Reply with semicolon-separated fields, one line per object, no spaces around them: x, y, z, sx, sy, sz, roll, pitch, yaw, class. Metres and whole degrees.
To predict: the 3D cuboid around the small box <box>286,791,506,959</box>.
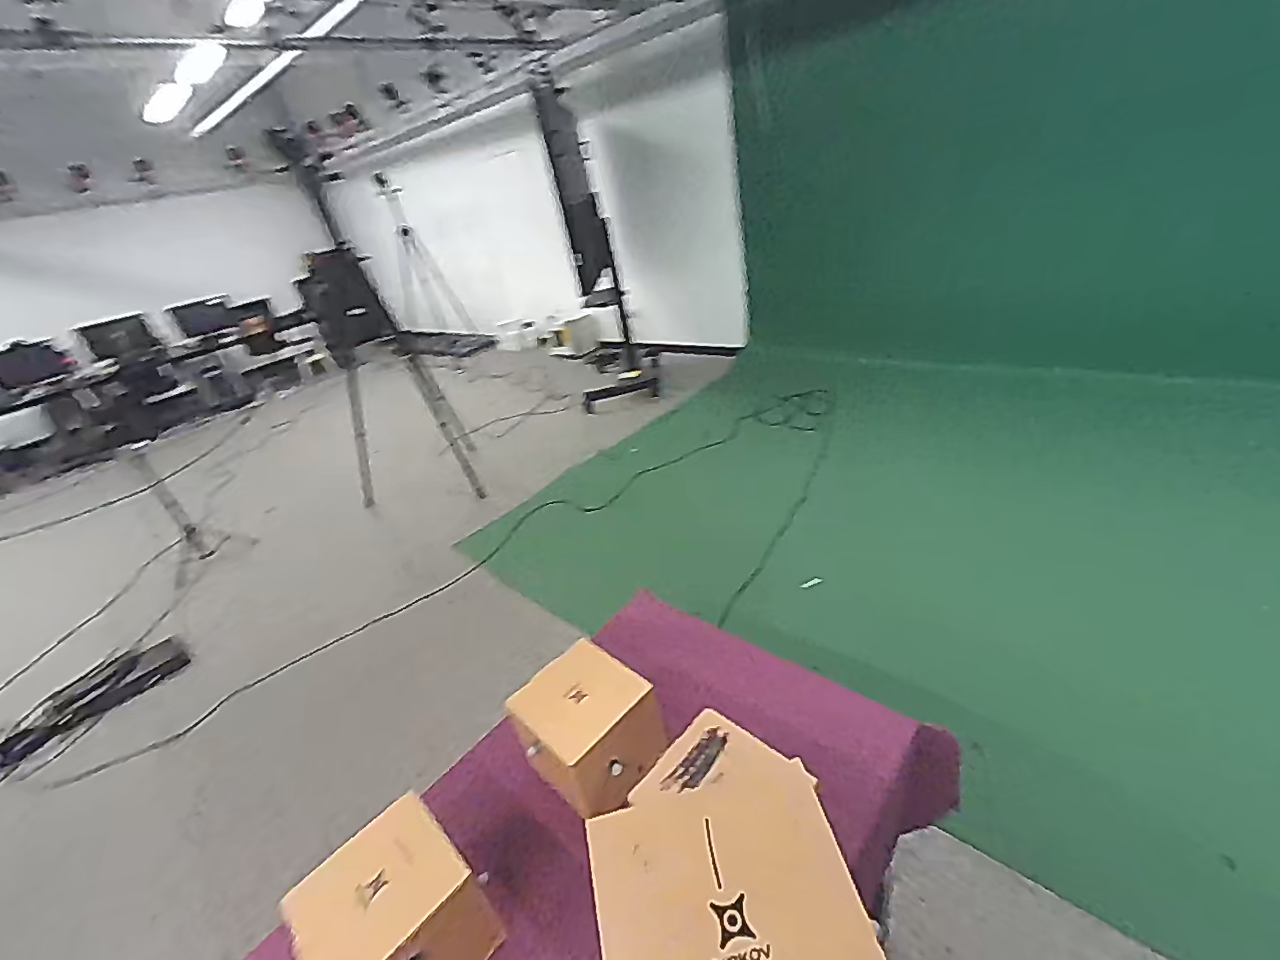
-0.300;0.558;0.686;0.168;0.176;0.179;19;41;42;small box

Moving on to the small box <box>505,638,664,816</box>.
-0.082;0.400;0.875;0.179;0.176;0.168;17;41;43;small box

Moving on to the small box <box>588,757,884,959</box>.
0.069;0.335;0.385;0.168;0.176;0.179;-14;42;-4;small box
